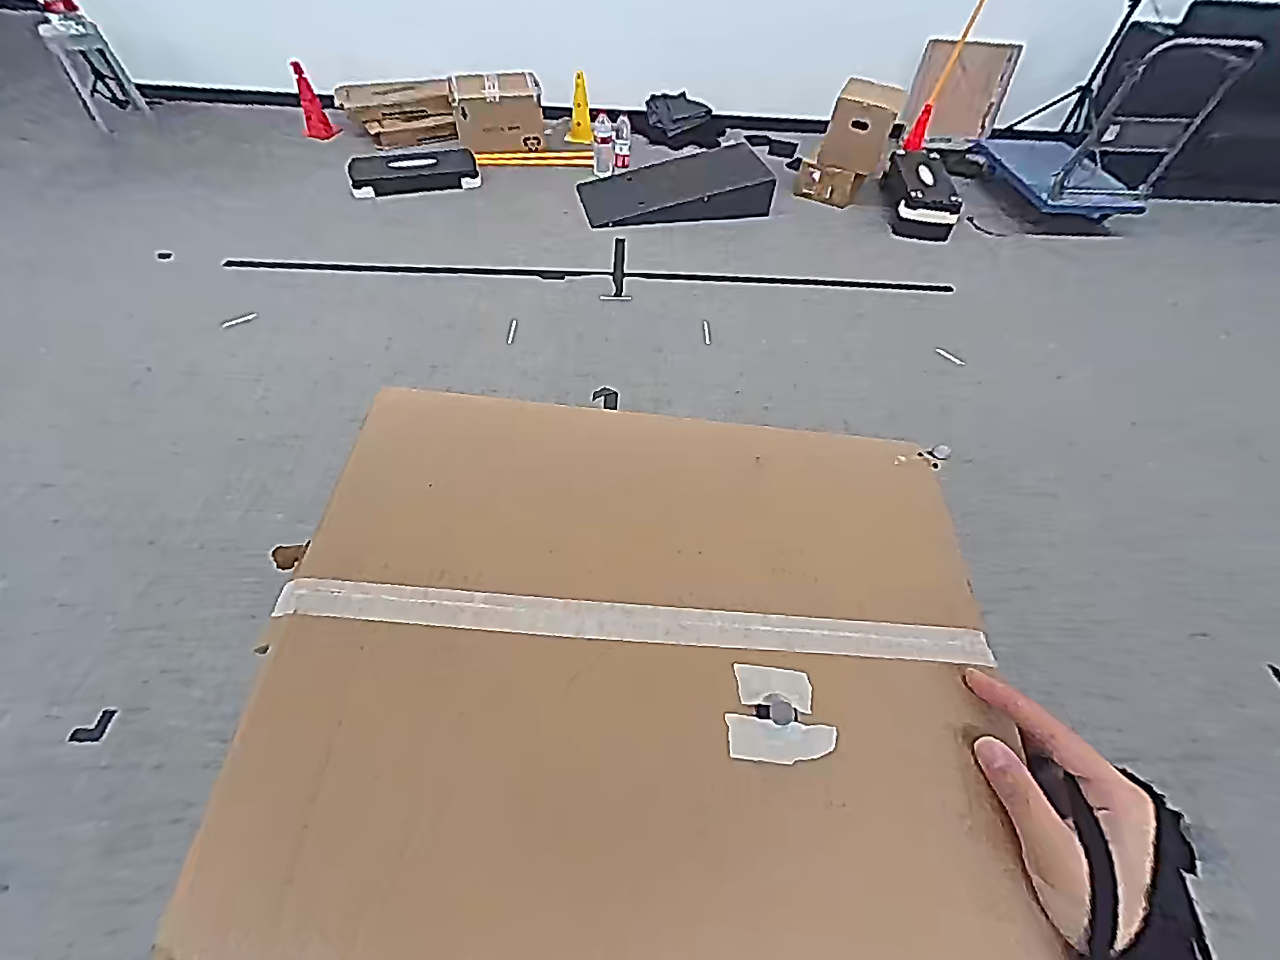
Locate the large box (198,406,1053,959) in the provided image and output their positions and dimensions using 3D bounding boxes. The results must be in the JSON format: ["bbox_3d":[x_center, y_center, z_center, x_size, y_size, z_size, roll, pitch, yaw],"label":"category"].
[{"bbox_3d":[-0.008,0.169,0.450,0.408,0.320,0.320,6,58,-4],"label":"large box"}]
